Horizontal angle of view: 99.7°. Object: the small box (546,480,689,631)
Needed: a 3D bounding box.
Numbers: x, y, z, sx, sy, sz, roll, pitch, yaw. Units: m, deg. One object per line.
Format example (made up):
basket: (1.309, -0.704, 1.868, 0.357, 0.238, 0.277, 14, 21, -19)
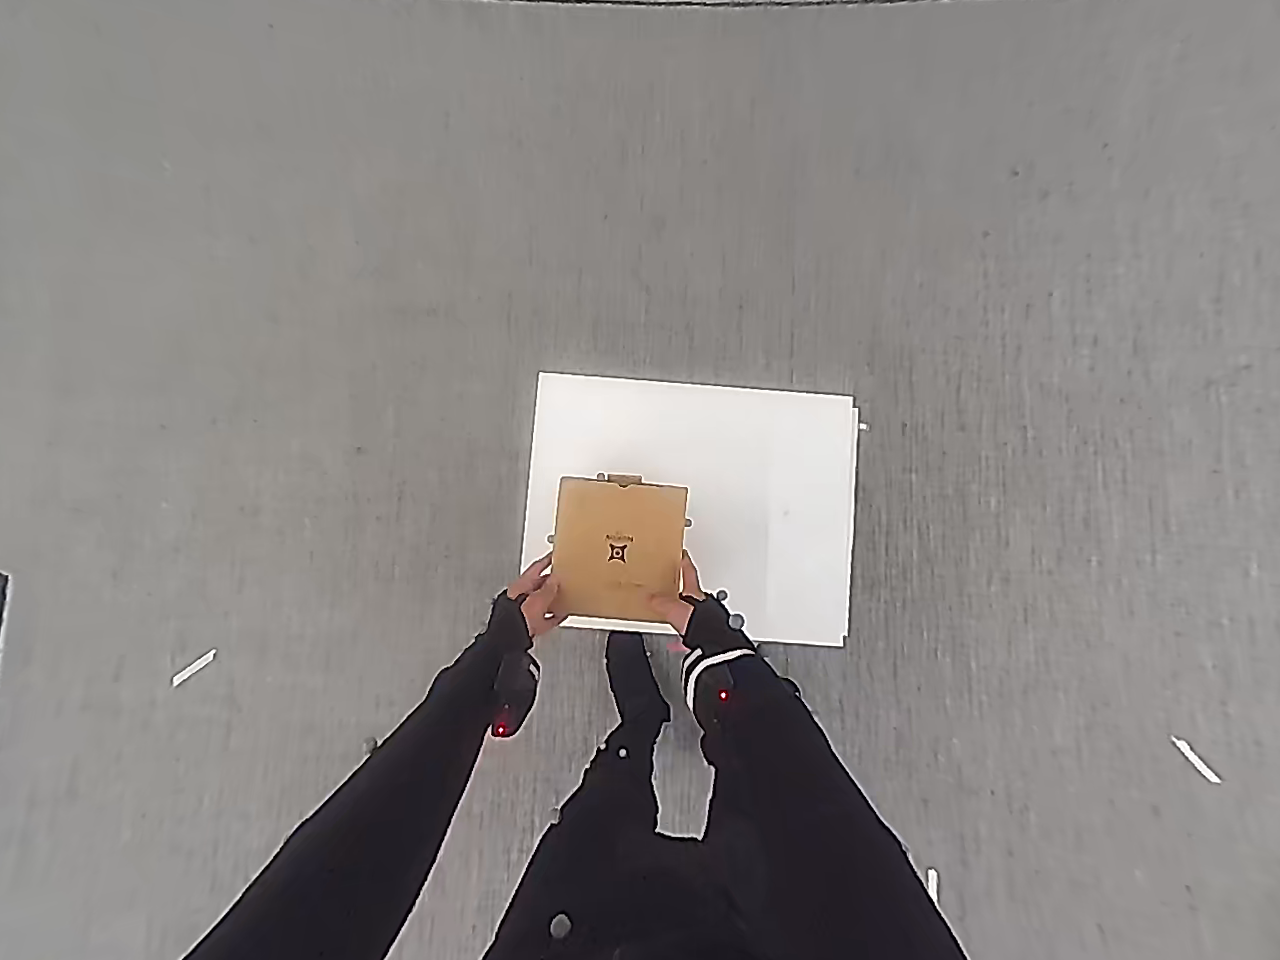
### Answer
small box: (-0.029, 0.102, 0.758, 0.168, 0.176, 0.179, 6, 84, 0)
